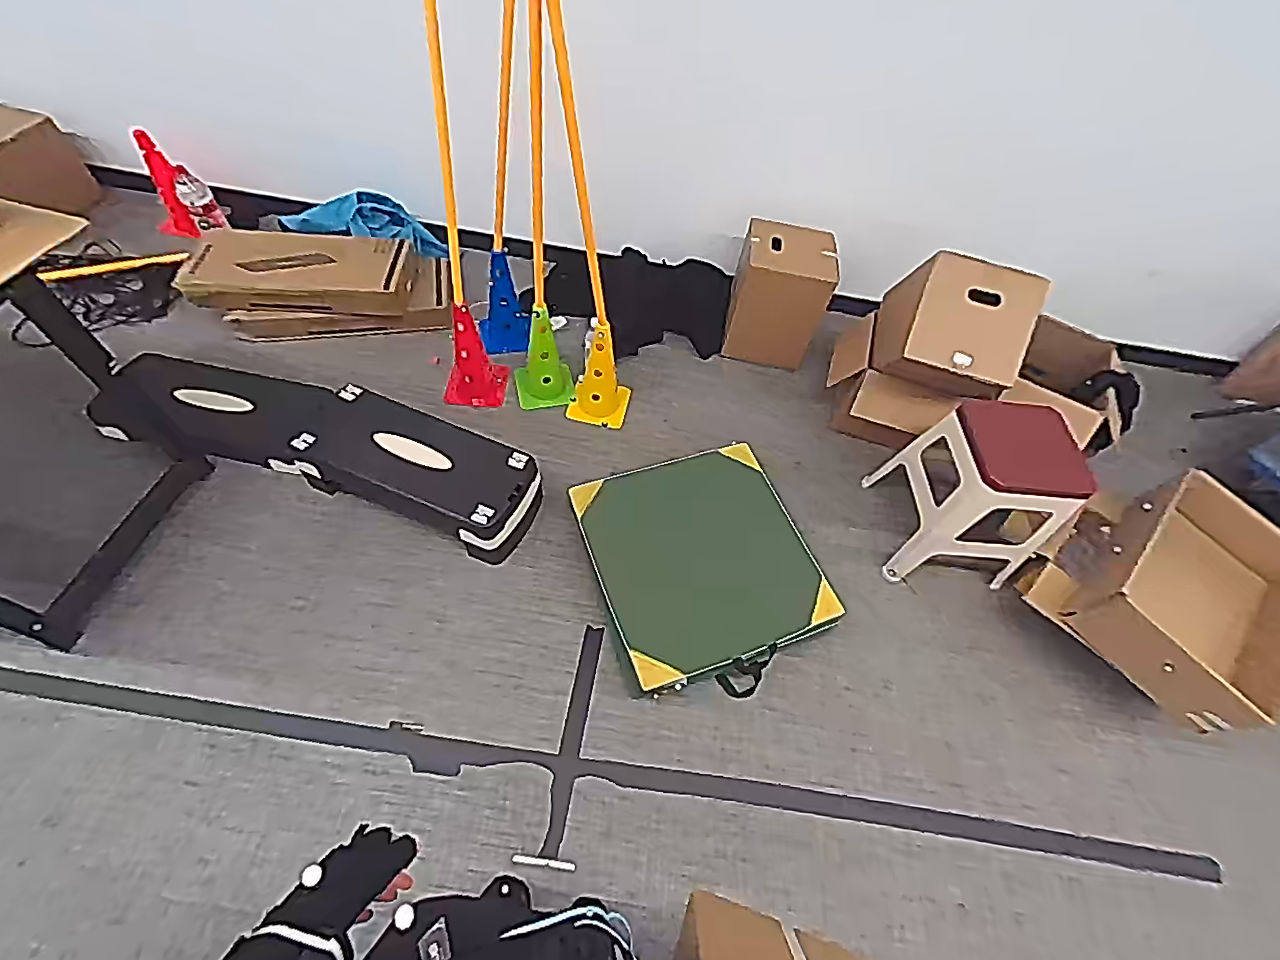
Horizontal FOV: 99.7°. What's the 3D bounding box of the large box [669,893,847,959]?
[{"bbox_3d":[0.164,0.801,0.636,0.320,0.408,0.320,17,75,8],"label":"large box"}]
